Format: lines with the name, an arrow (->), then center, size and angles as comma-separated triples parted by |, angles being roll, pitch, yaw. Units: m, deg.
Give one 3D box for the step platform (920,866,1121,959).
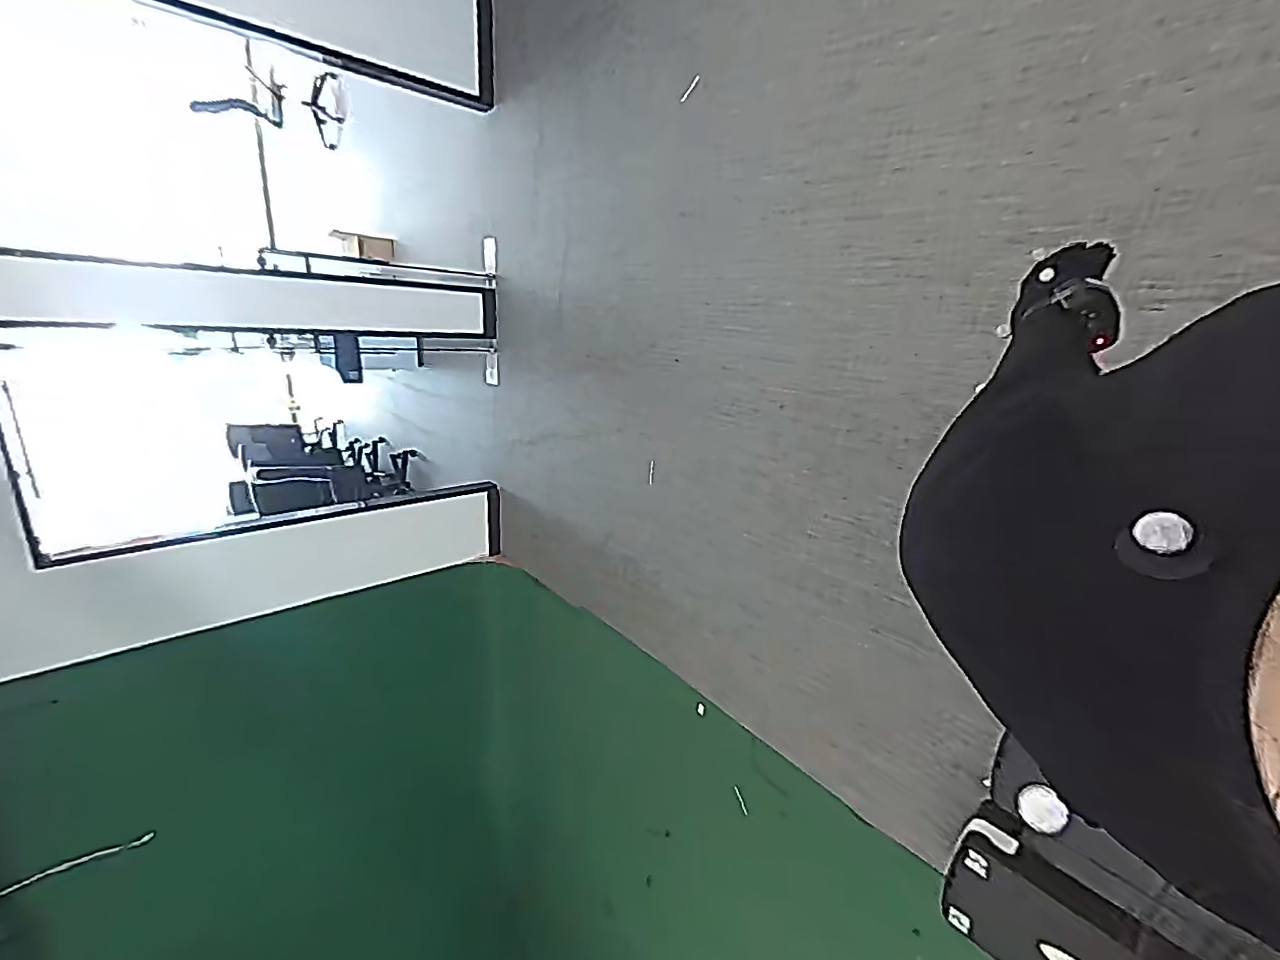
step platform -> 0.952, 1.145, 1.072 | 0.684, 0.204, 0.286 | 21, 114, 44
